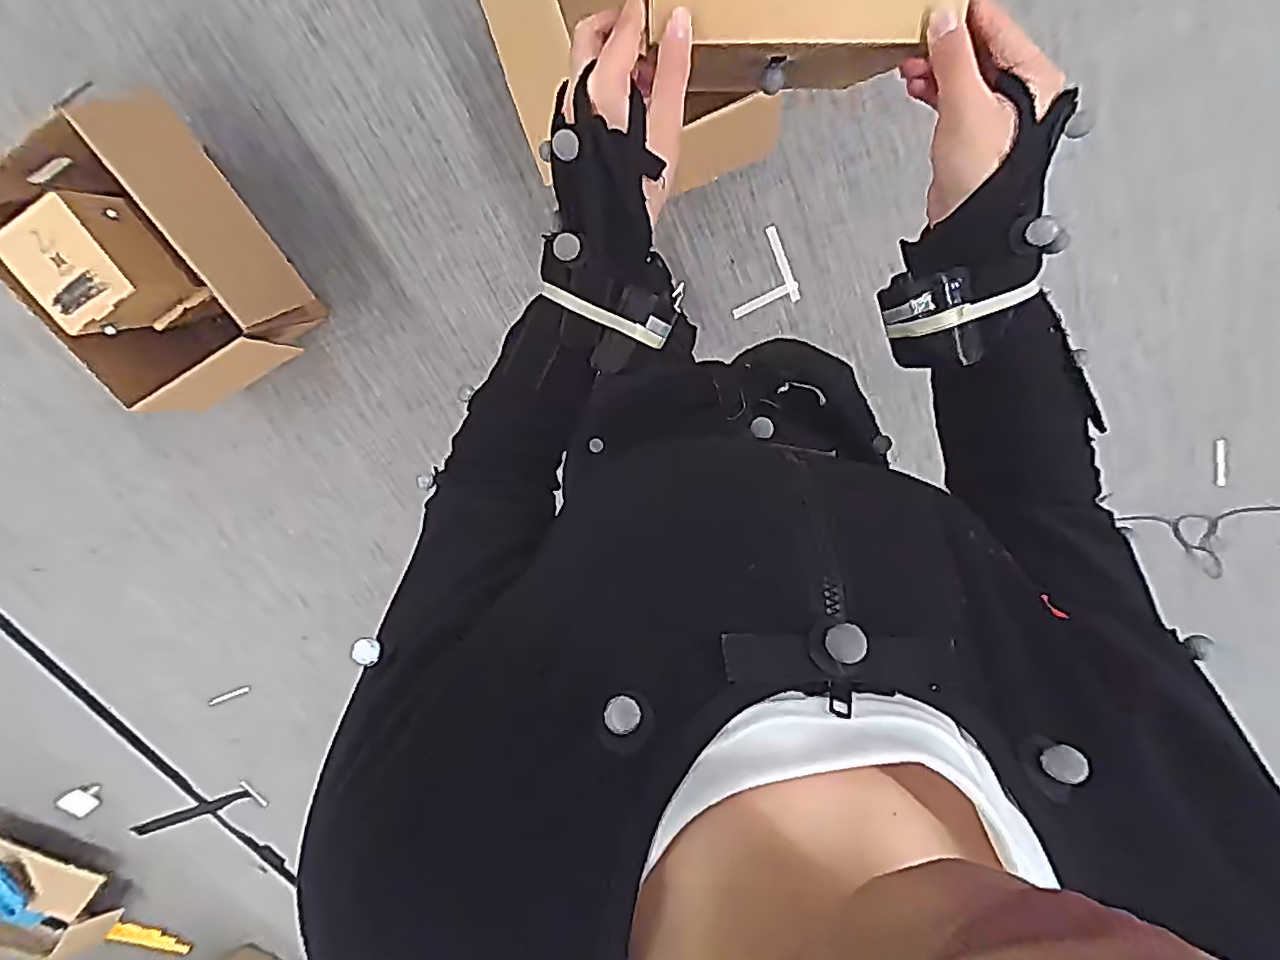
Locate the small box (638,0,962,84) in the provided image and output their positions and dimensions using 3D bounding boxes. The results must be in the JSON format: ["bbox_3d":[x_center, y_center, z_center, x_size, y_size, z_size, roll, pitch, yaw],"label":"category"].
[{"bbox_3d":[0.088,-0.359,0.333,0.179,0.176,0.168,-1,119,-1],"label":"small box"}]
